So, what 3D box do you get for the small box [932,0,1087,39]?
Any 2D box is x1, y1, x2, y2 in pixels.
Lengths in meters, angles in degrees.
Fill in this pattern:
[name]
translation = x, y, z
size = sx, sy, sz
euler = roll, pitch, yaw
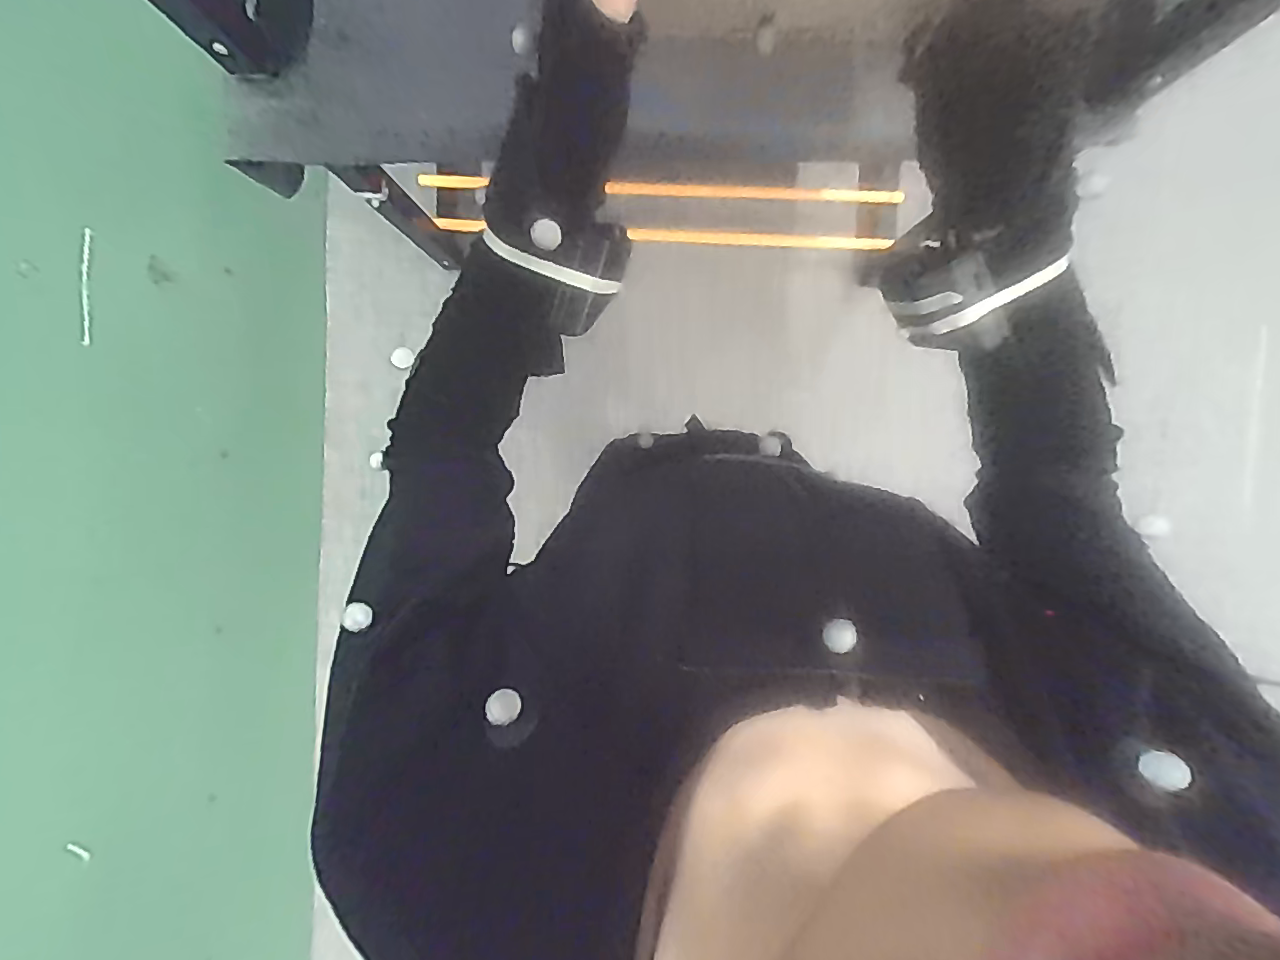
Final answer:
[small box]
translation = 0.462, -0.656, 0.624
size = 0.168, 0.176, 0.179
euler = 1, 93, 1
